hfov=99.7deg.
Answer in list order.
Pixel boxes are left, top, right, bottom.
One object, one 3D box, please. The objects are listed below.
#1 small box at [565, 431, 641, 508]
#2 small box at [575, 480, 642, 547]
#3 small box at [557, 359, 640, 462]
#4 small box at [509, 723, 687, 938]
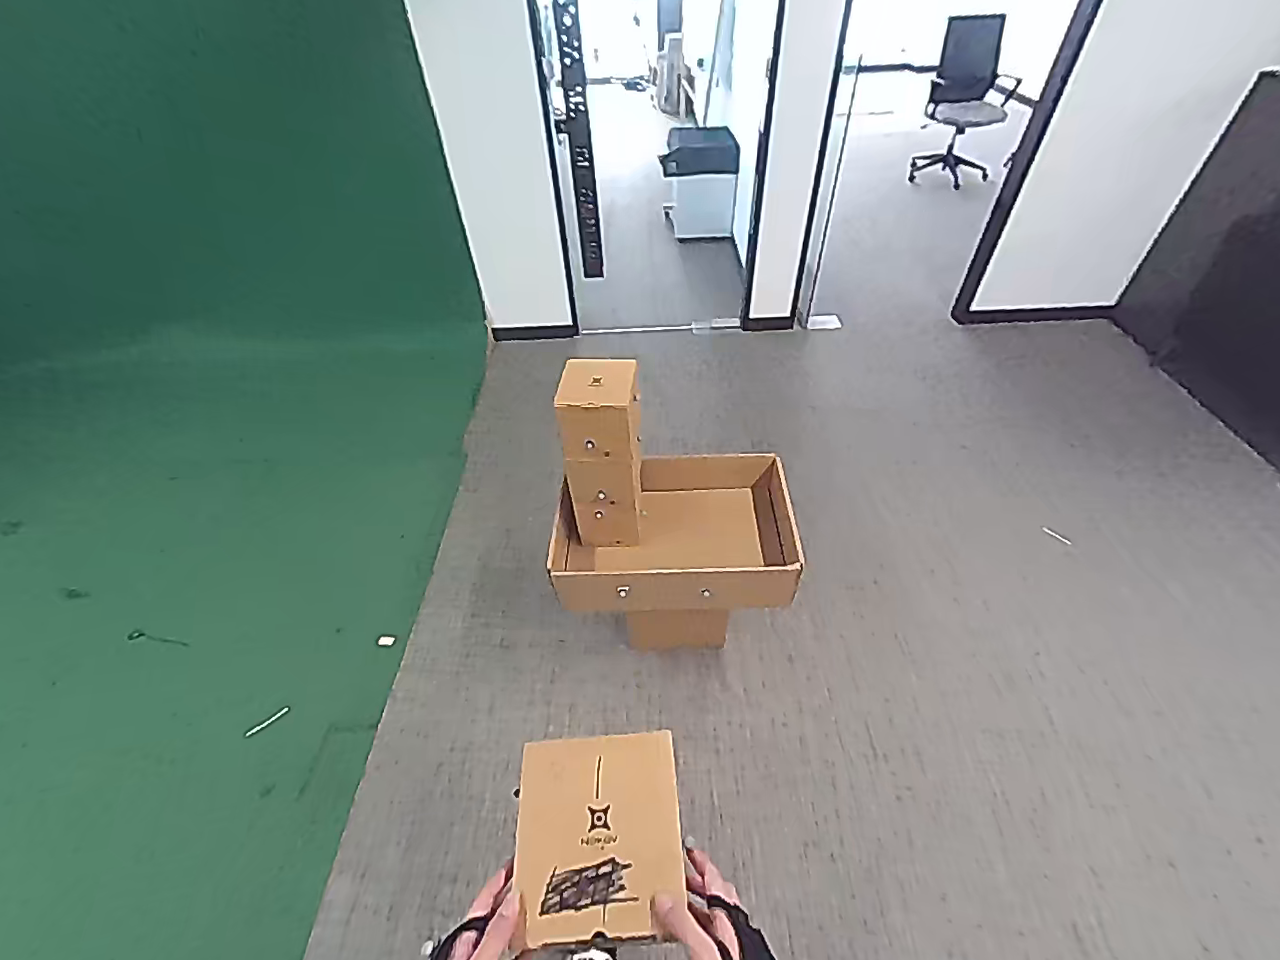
[{"bbox_3d":[-0.086,-0.049,1.382,0.168,0.176,0.179,1,46,5],"label":"small box"},{"bbox_3d":[-0.081,0.065,1.499,0.168,0.176,0.179,0,46,3],"label":"small box"},{"bbox_3d":[-0.089,-0.163,1.266,0.168,0.176,0.179,3,47,6],"label":"small box"},{"bbox_3d":[-0.036,0.392,0.600,0.168,0.176,0.179,-4,47,0],"label":"small box"}]
